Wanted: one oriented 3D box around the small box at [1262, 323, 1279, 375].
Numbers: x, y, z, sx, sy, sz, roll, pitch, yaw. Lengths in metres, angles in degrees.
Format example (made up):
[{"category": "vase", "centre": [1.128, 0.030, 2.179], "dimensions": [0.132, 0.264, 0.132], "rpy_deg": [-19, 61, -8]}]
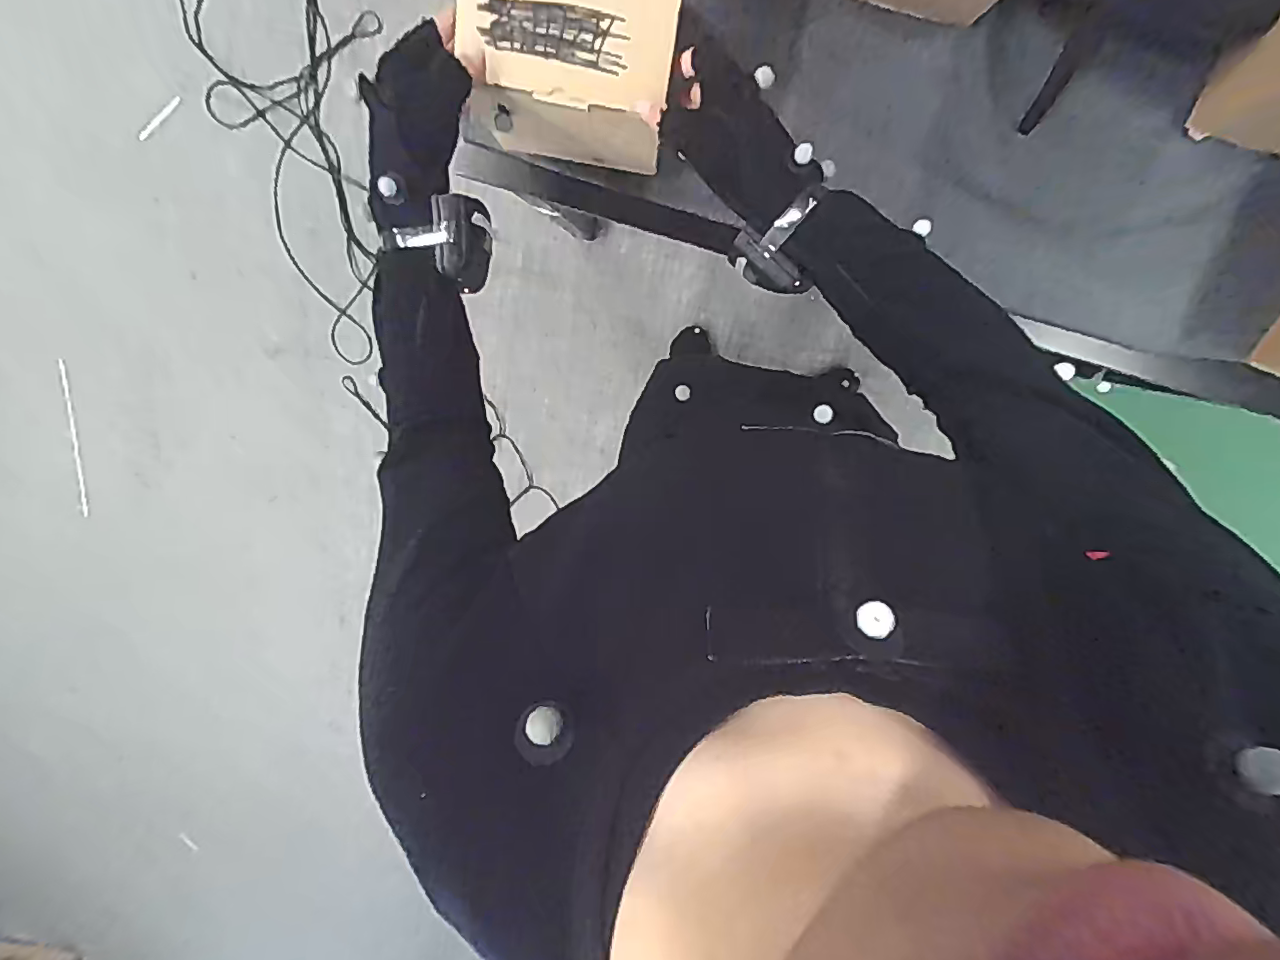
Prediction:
[{"category": "small box", "centre": [0.836, -0.163, 0.553], "dimensions": [0.168, 0.176, 0.179], "rpy_deg": [20, 111, -3]}]
